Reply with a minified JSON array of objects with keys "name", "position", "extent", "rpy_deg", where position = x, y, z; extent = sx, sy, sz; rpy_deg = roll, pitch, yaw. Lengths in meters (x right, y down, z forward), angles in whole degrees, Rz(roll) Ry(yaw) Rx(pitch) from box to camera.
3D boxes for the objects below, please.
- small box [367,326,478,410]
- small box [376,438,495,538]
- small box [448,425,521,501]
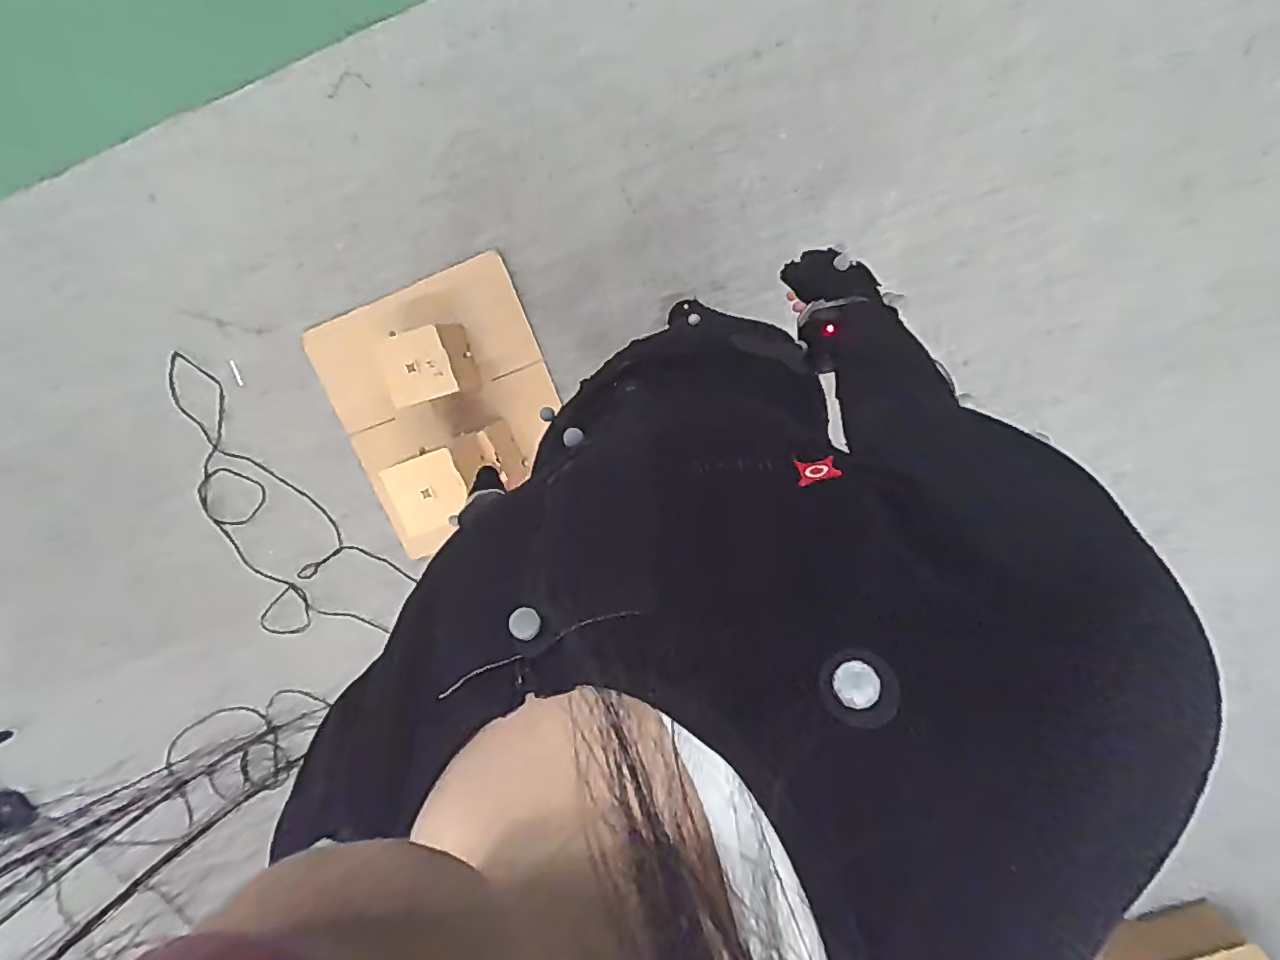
[{"name":"small box","position":[-0.540,-0.284,1.364],"extent":[0.179,0.176,0.168],"rpy_deg":[-14,104,7]},{"name":"small box","position":[-0.469,0.013,1.267],"extent":[0.179,0.176,0.168],"rpy_deg":[-18,103,9]},{"name":"small box","position":[-0.430,-0.034,1.421],"extent":[0.179,0.176,0.168],"rpy_deg":[-21,103,9]}]
